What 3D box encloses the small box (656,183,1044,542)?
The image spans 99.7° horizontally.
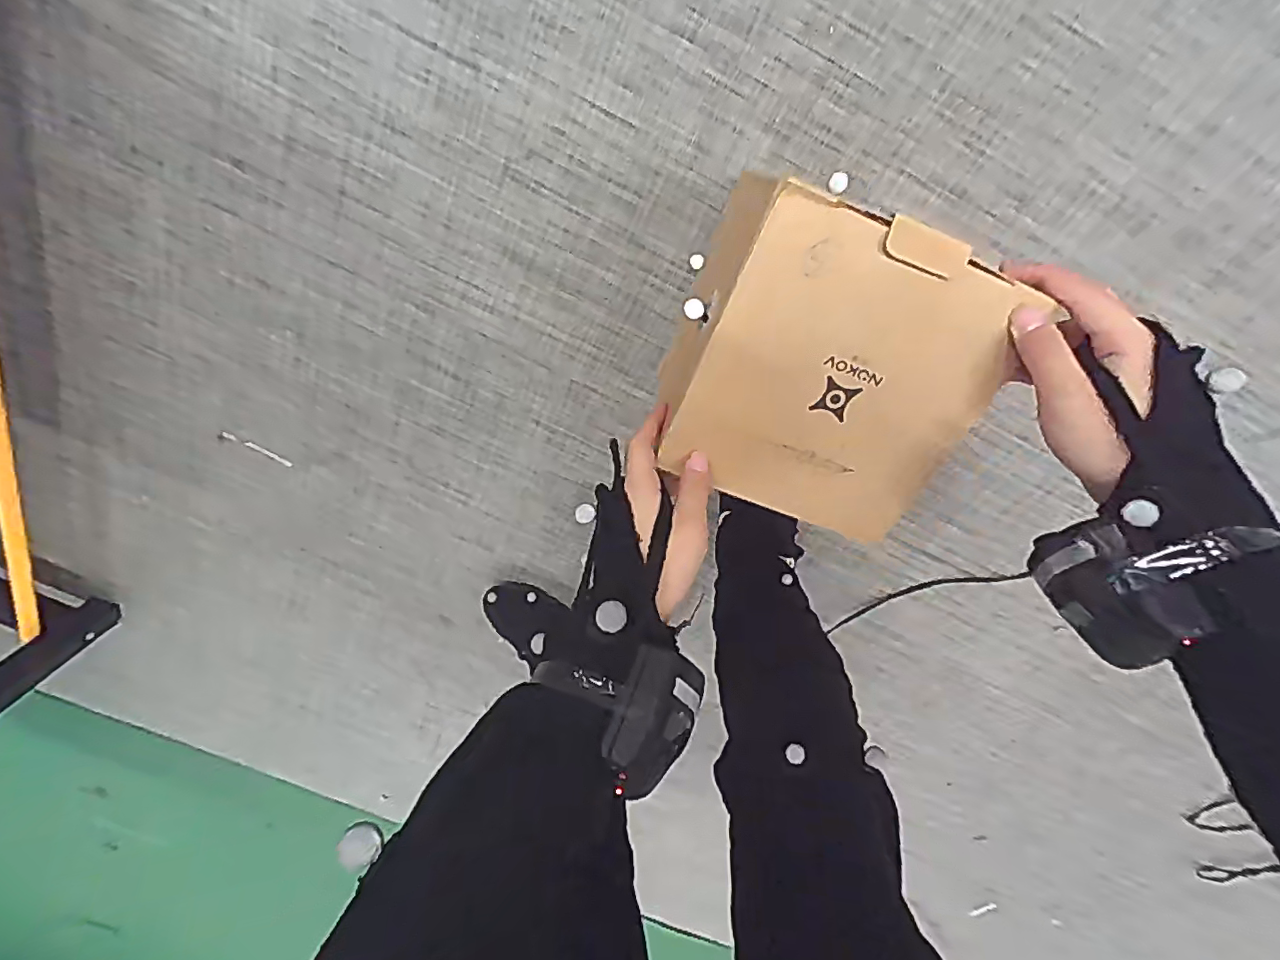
[{"bbox_3d":[0.116,-0.092,0.388,0.168,0.176,0.179,20,120,-8],"label":"small box"}]
